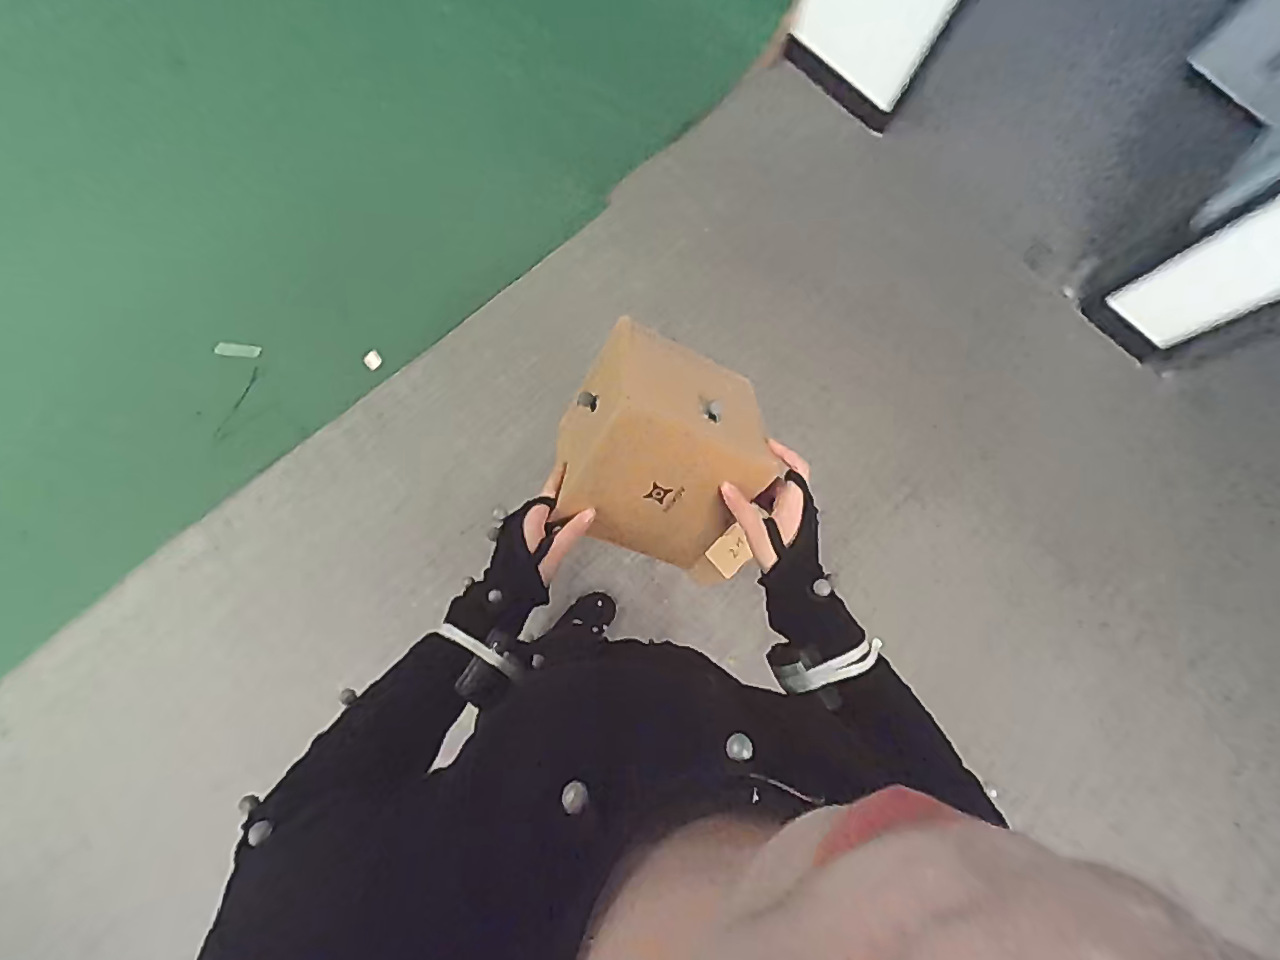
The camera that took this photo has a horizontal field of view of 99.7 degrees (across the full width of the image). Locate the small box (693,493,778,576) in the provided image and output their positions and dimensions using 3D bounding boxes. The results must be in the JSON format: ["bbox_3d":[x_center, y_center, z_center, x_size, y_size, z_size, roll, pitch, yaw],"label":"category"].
[{"bbox_3d":[0.199,0.120,1.321,0.168,0.176,0.179,-40,84,-11],"label":"small box"}]

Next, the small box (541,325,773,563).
[{"bbox_3d":[0.008,-0.043,0.588,0.179,0.168,0.176,20,37,-22],"label":"small box"}]
